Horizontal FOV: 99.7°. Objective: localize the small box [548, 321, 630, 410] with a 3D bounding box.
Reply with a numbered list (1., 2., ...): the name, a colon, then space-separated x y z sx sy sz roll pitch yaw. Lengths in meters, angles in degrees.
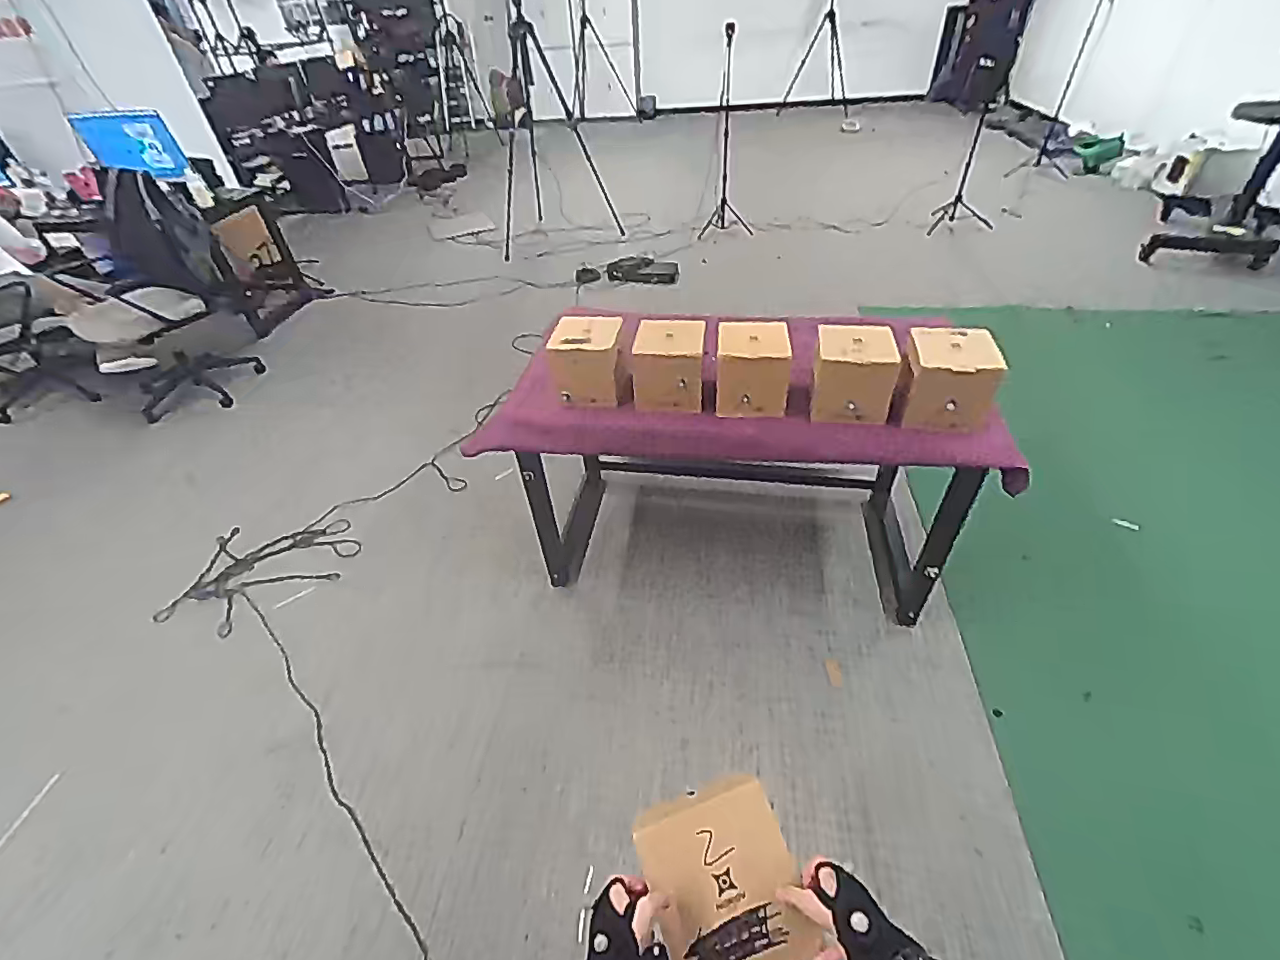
1. small box: -0.123 -0.295 1.399 0.168 0.176 0.179 3 42 9
